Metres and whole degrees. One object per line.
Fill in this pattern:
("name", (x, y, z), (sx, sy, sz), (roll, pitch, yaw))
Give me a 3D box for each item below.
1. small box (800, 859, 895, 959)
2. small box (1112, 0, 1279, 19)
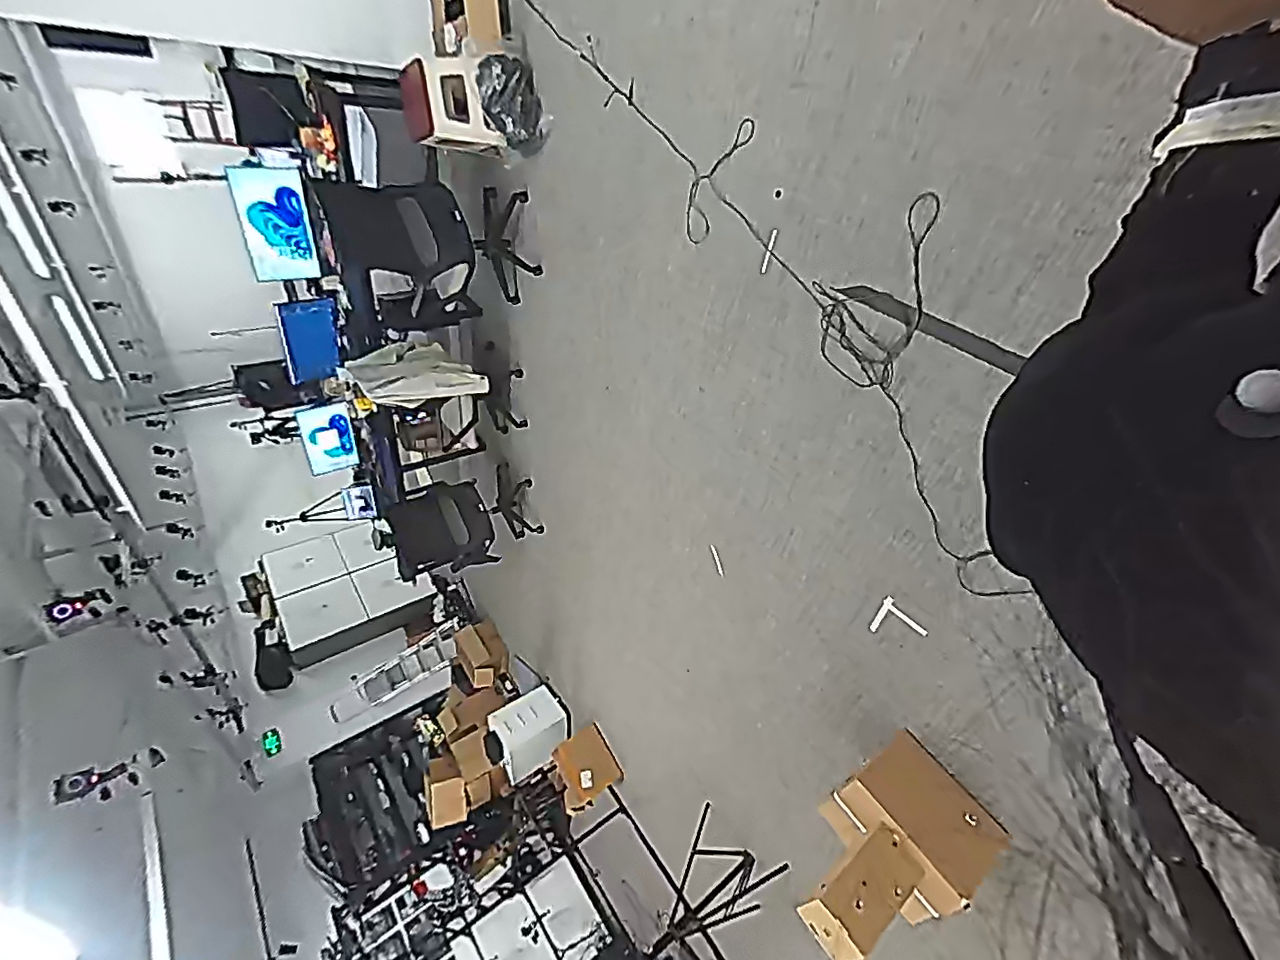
("small box", (0.612, 1.259, 1.585), (0.168, 0.176, 0.179), (47, 140, 30))
("small box", (0.317, -0.325, 0.212), (0.168, 0.176, 0.179), (12, 116, 53))
